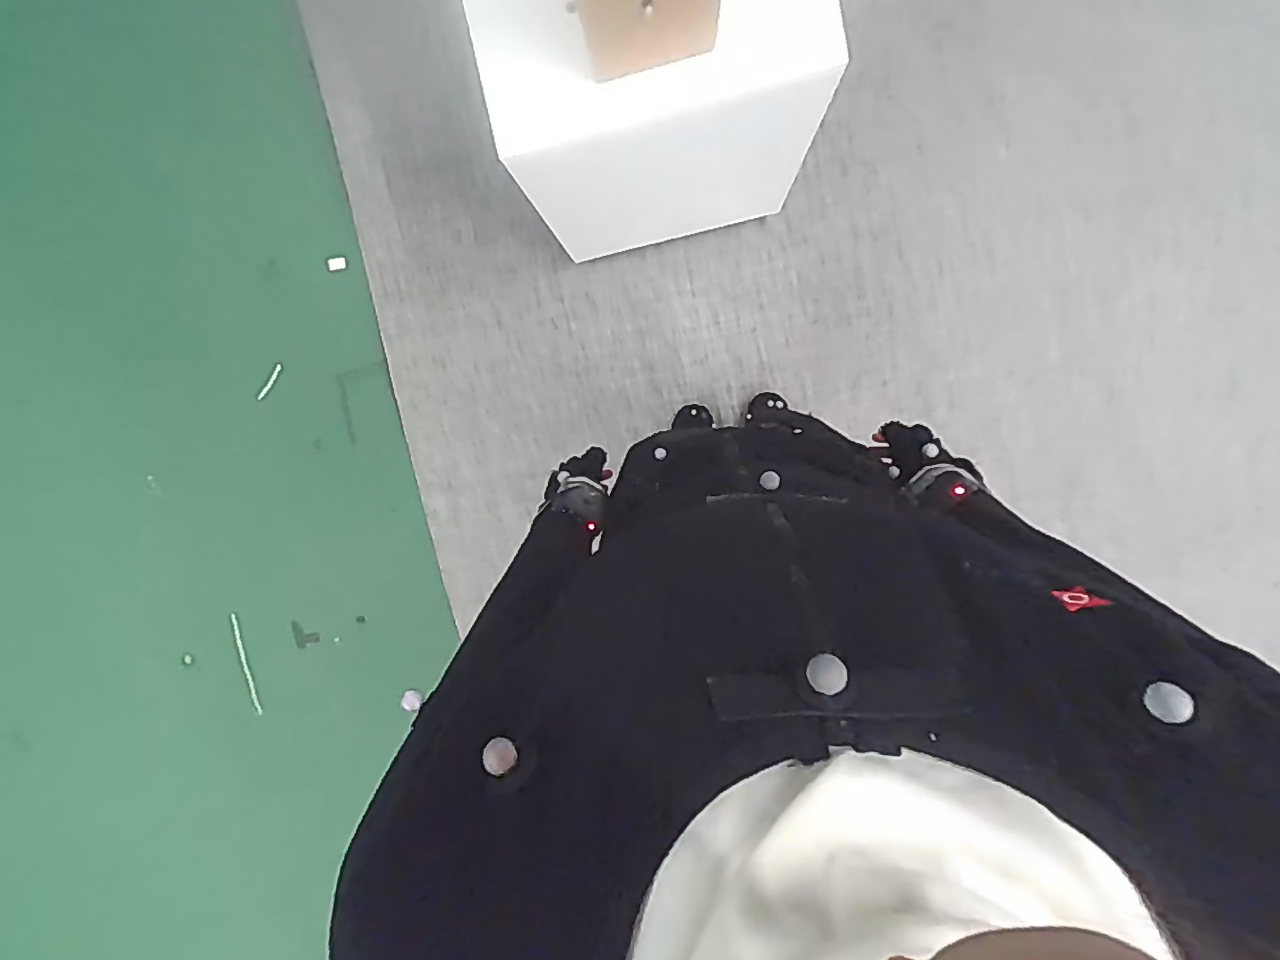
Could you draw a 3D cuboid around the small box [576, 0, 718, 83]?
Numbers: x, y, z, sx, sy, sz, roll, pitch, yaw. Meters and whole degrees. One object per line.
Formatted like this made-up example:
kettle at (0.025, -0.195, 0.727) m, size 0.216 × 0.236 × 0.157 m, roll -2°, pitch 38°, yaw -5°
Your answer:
small box at (0.002, -0.650, 0.684) m, size 0.179 × 0.176 × 0.168 m, roll -12°, pitch 96°, yaw 5°
